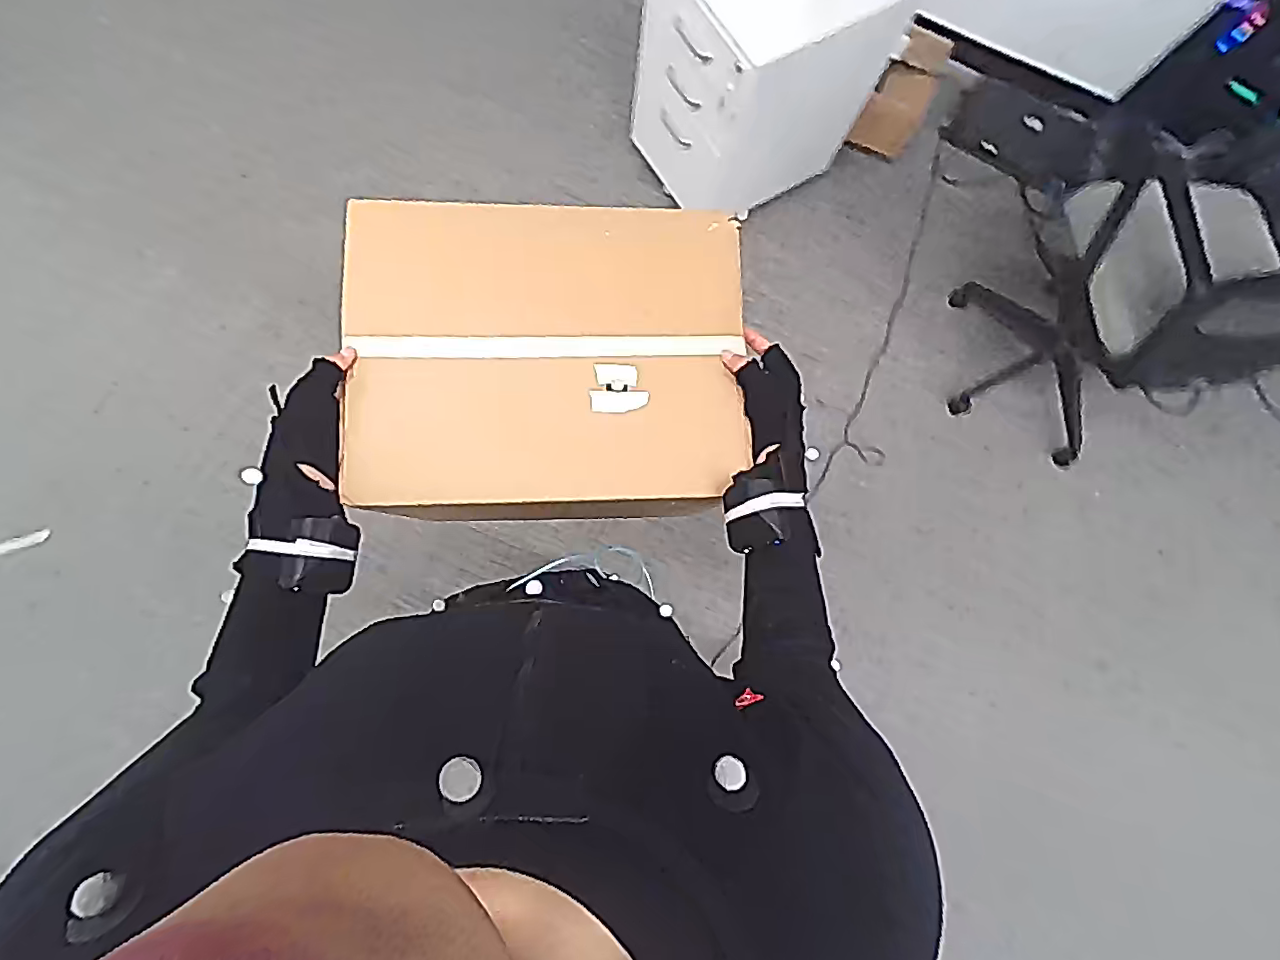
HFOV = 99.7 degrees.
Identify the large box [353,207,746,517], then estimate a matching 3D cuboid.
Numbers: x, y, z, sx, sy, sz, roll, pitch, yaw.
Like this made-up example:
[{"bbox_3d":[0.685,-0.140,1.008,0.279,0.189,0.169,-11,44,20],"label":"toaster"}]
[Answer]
[{"bbox_3d":[-0.109,-0.123,0.712,0.408,0.320,0.320,-2,84,-6],"label":"large box"}]
